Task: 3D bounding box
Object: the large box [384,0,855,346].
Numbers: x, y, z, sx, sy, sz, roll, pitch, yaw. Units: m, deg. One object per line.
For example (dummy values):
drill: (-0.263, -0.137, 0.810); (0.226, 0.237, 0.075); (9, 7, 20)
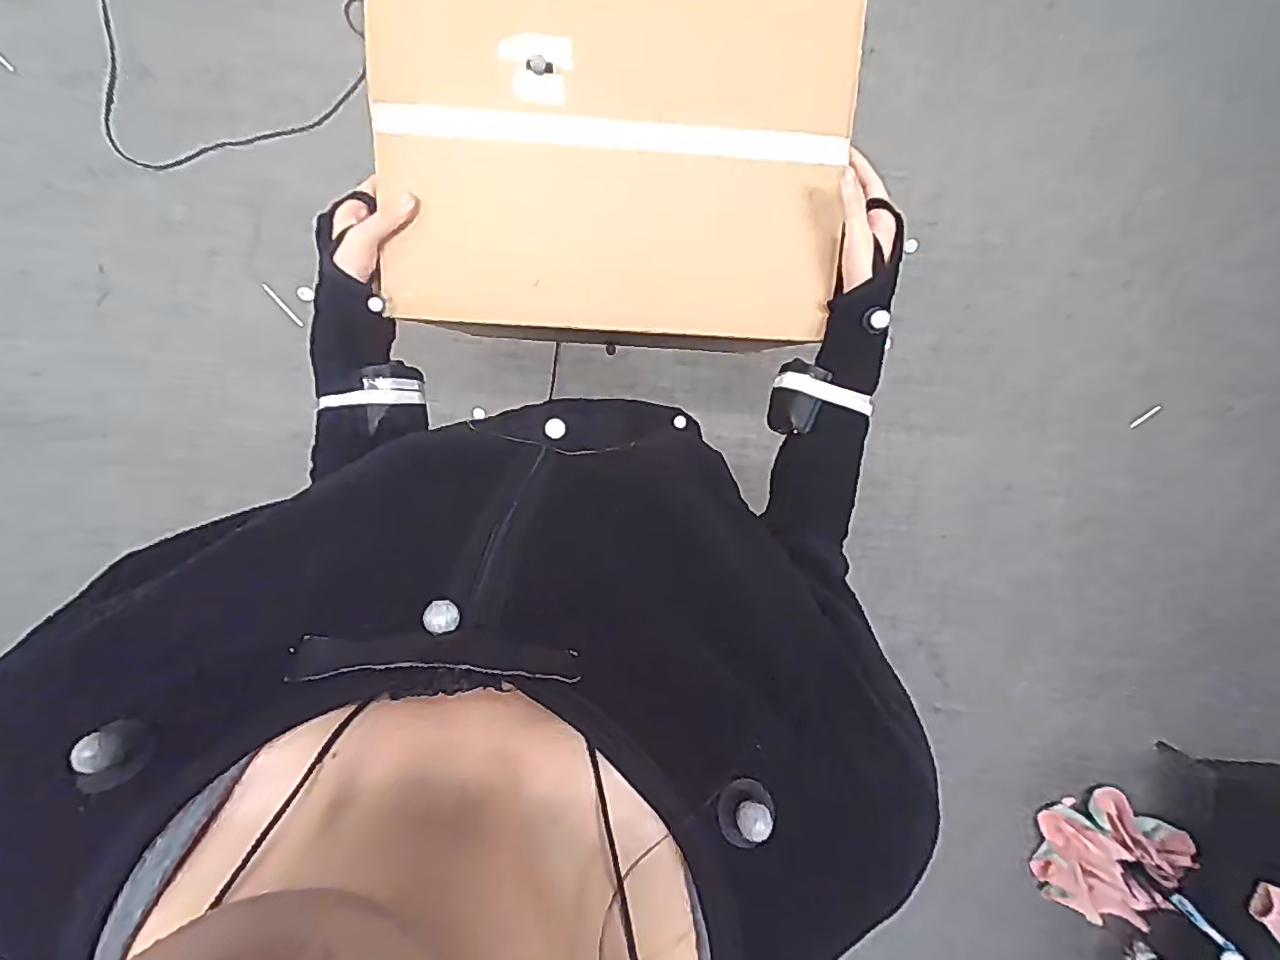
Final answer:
large box: (-0.024, -0.321, 0.622); (0.408, 0.320, 0.320); (2, 101, -3)
